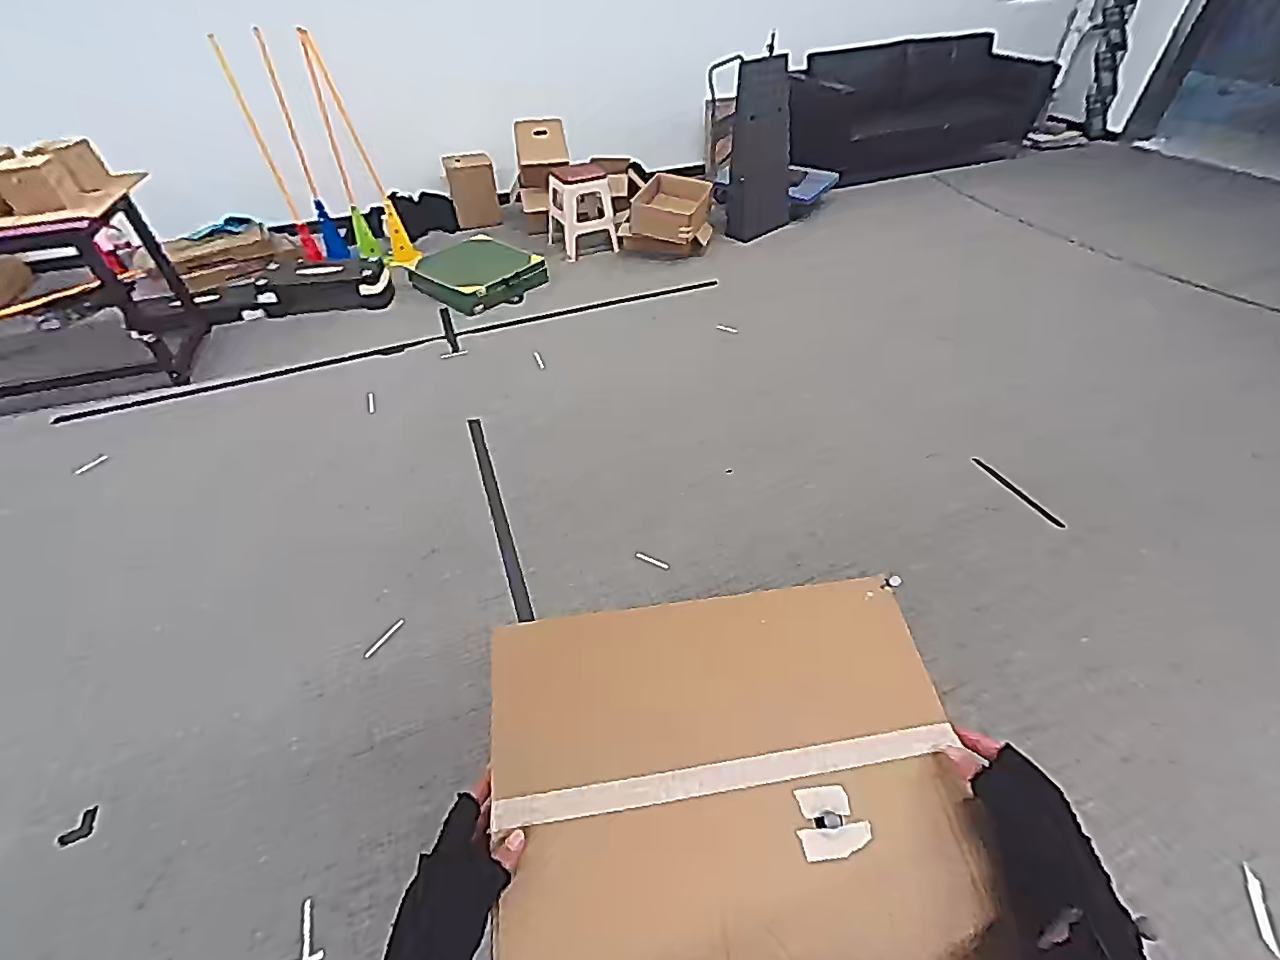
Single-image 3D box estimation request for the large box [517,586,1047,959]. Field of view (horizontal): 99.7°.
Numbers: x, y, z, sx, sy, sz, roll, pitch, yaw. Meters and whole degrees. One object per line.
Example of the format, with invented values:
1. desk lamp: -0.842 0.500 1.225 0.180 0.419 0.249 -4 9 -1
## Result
1. large box: 0.089 0.341 0.593 0.408 0.320 0.320 -5 56 -6
